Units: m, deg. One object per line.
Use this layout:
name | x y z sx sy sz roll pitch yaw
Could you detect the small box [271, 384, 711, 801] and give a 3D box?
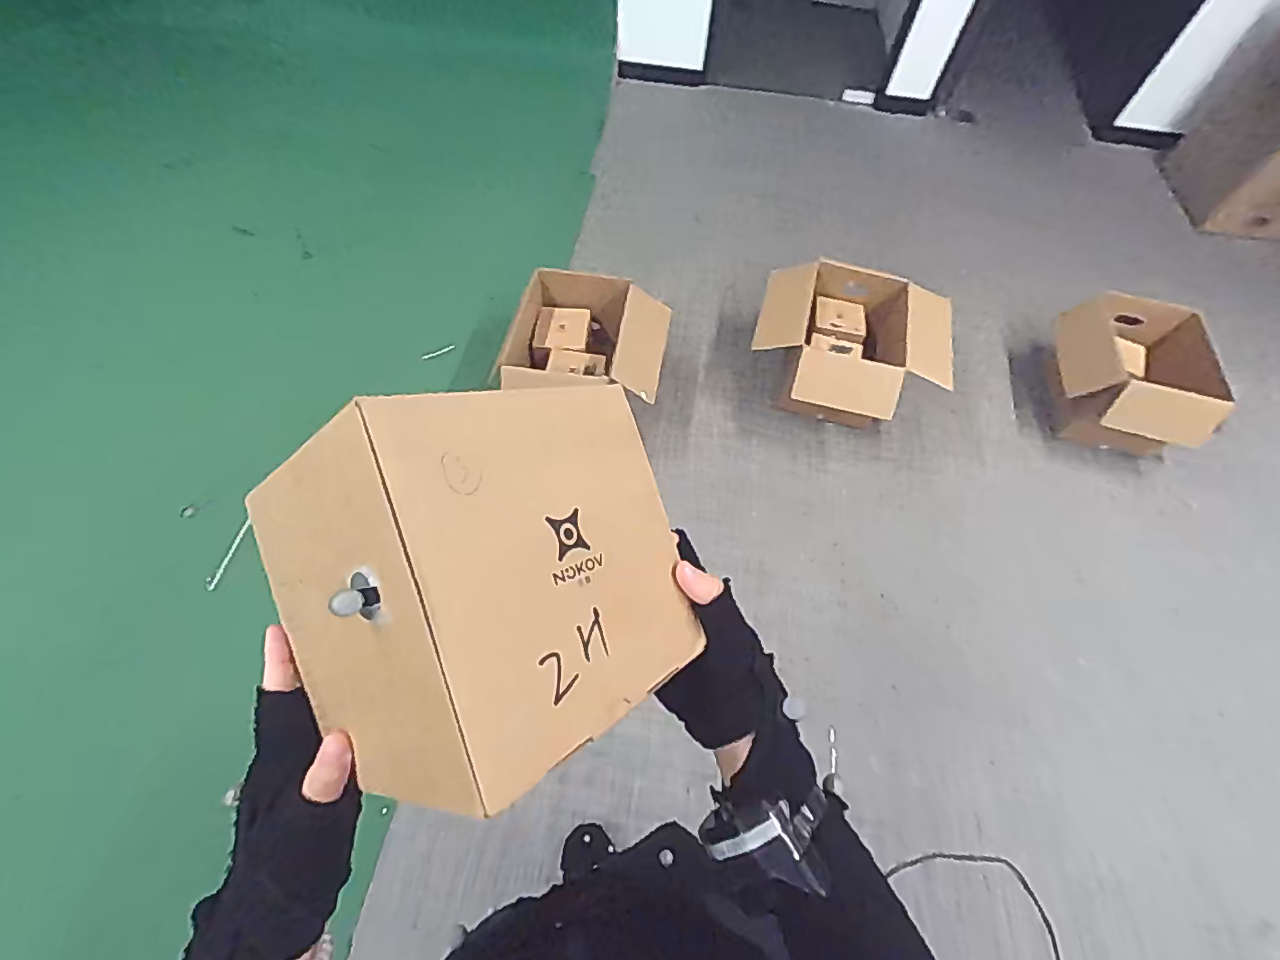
small box | -0.090 0.055 0.325 0.168 0.176 0.179 -14 86 -51
